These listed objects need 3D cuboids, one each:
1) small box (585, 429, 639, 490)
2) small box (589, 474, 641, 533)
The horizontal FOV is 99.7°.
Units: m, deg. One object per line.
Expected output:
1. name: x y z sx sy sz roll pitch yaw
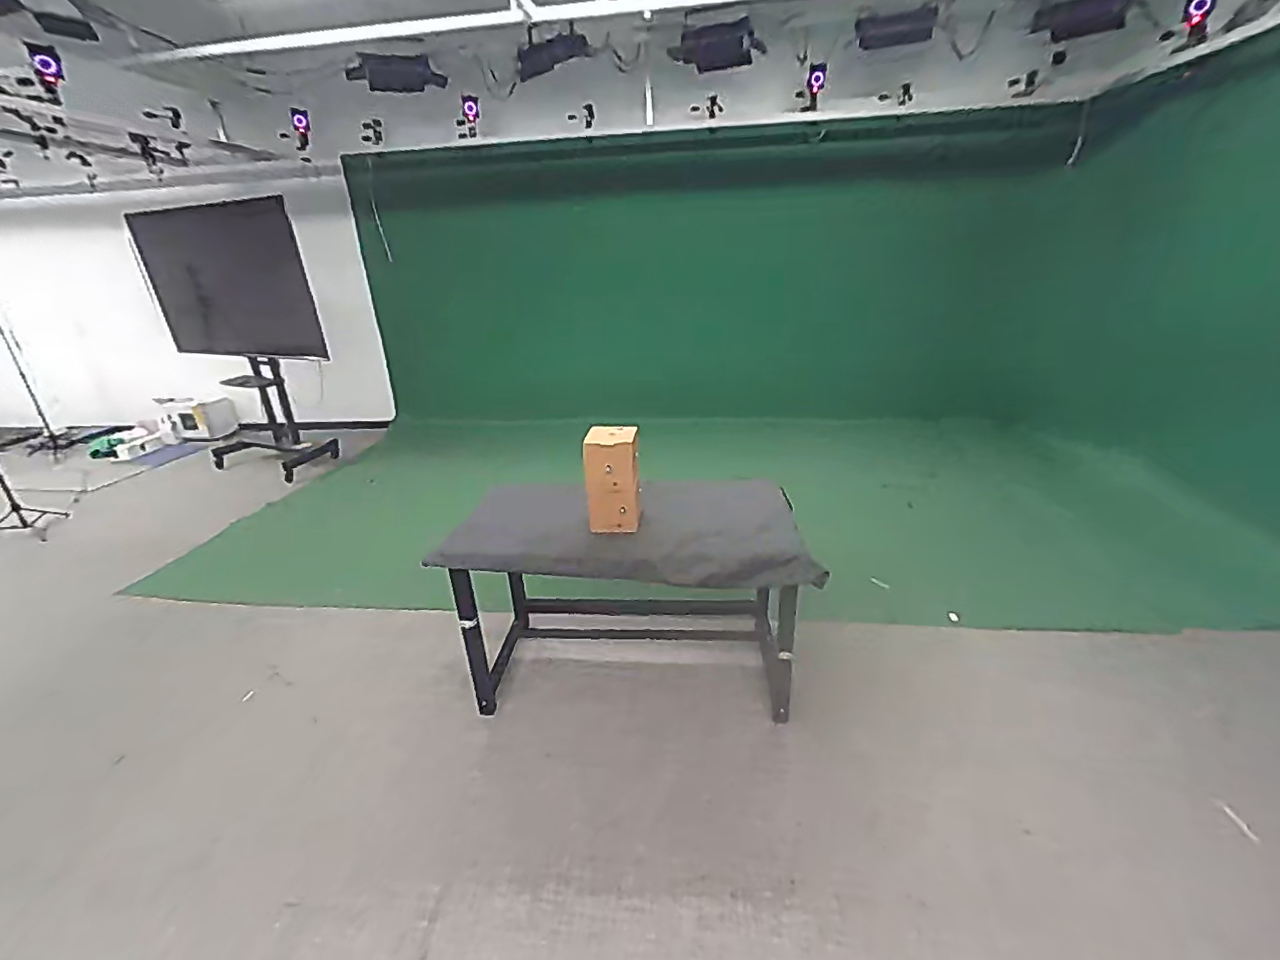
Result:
1. small box: -0.092 -0.071 1.883 0.168 0.176 0.179 2 24 6
2. small box: -0.085 0.082 1.941 0.168 0.176 0.179 1 22 4
